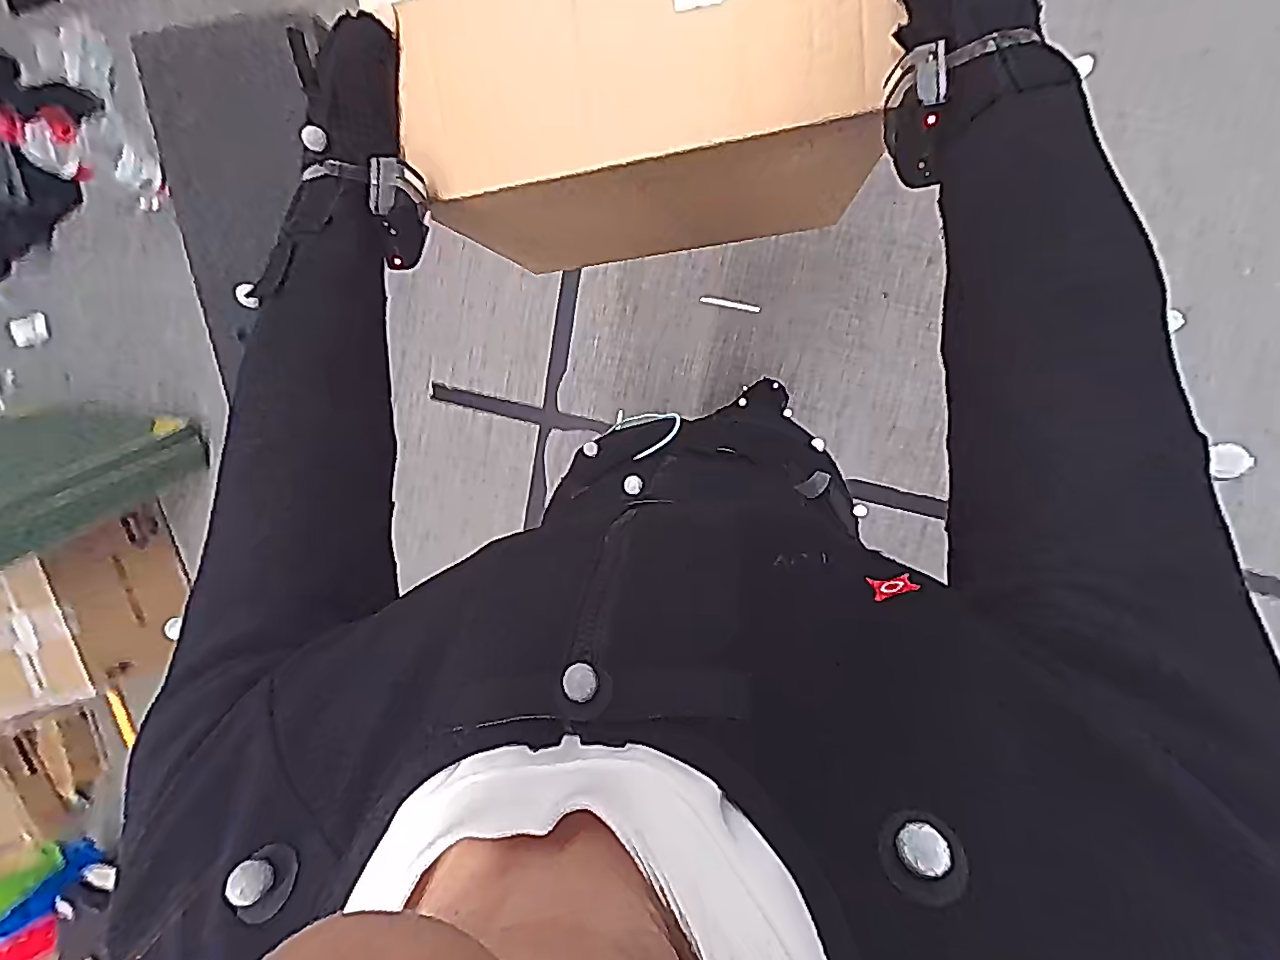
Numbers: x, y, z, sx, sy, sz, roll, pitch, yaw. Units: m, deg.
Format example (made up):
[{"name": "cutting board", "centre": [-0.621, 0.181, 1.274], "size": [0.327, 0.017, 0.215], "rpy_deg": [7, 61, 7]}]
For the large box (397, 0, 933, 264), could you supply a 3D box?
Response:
[{"name": "large box", "centre": [0.020, -0.437, 0.544], "size": [0.408, 0.320, 0.320], "rpy_deg": [-5, 100, 10]}]
